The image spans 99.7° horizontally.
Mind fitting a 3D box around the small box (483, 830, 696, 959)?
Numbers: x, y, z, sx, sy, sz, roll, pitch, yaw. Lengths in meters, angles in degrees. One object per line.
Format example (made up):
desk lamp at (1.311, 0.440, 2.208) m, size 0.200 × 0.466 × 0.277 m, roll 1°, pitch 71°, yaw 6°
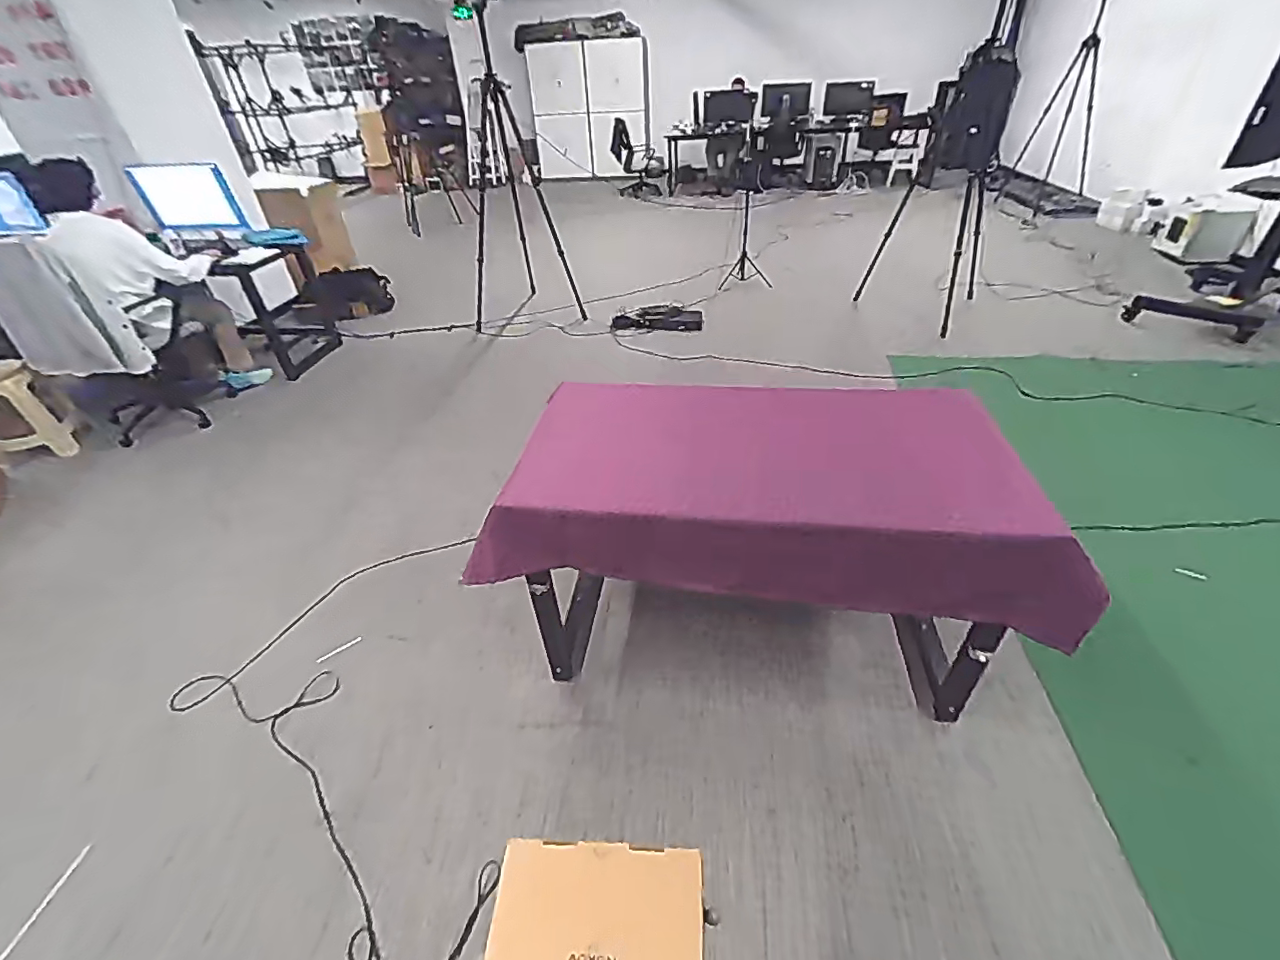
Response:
small box at (-0.035, 0.426, 0.464) m, size 0.168 × 0.176 × 0.179 m, roll 1°, pitch 45°, yaw 4°
